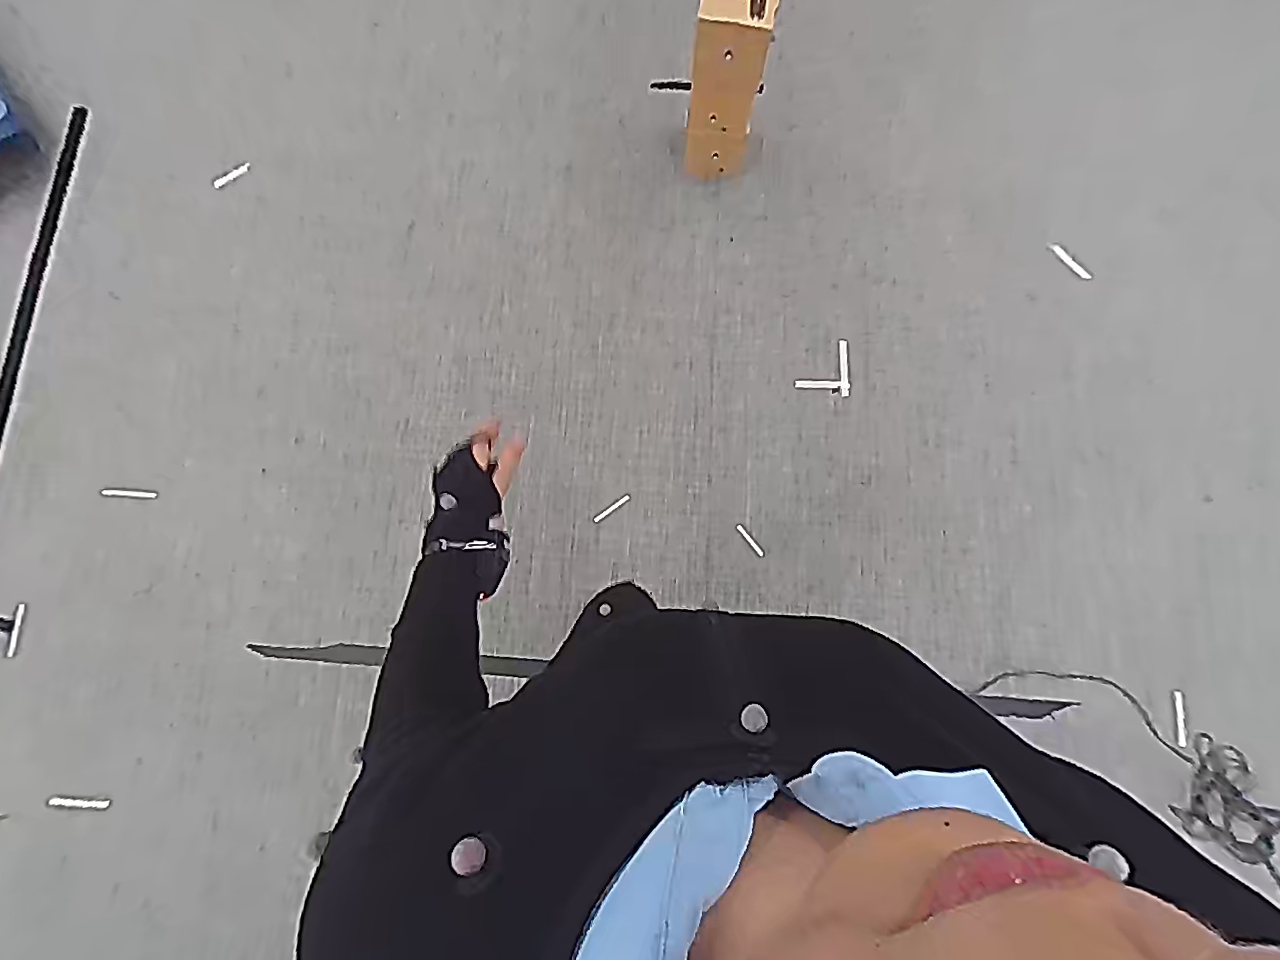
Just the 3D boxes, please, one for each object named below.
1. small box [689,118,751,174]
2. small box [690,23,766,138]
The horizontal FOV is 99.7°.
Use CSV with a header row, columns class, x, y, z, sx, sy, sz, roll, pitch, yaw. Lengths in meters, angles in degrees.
class,x,y,z,sx,sy,sz,roll,pitch,yaw
small box,0.237,-1.053,1.625,0.168,0.176,0.179,2,80,0
small box,0.232,-1.075,1.464,0.168,0.176,0.179,8,82,2
